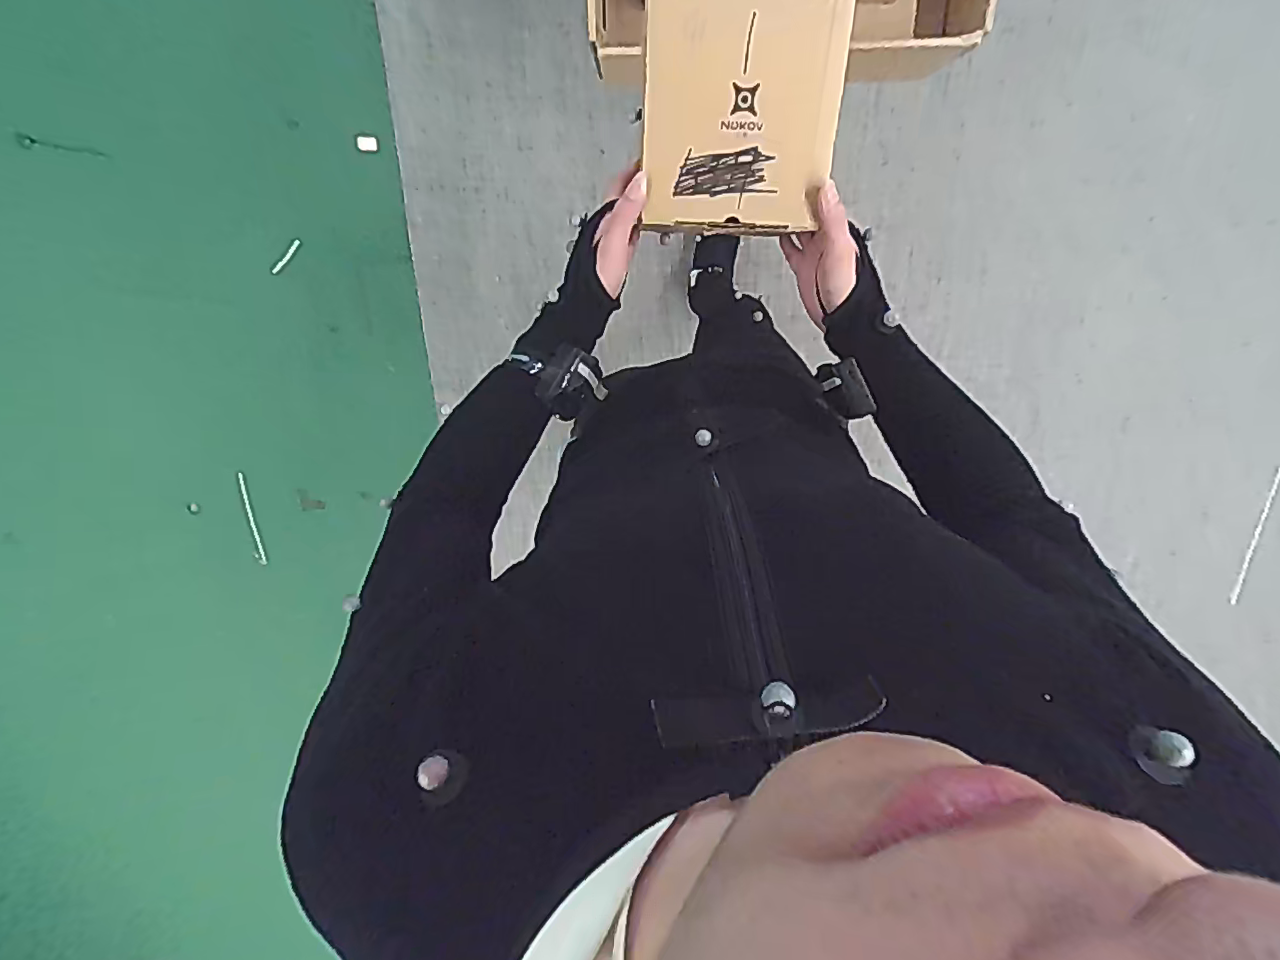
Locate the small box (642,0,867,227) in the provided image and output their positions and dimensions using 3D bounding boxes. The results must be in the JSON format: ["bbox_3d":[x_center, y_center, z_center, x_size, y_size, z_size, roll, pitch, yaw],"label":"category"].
[{"bbox_3d":[0.089,-0.342,0.514,0.168,0.176,0.179,1,112,-3],"label":"small box"}]
